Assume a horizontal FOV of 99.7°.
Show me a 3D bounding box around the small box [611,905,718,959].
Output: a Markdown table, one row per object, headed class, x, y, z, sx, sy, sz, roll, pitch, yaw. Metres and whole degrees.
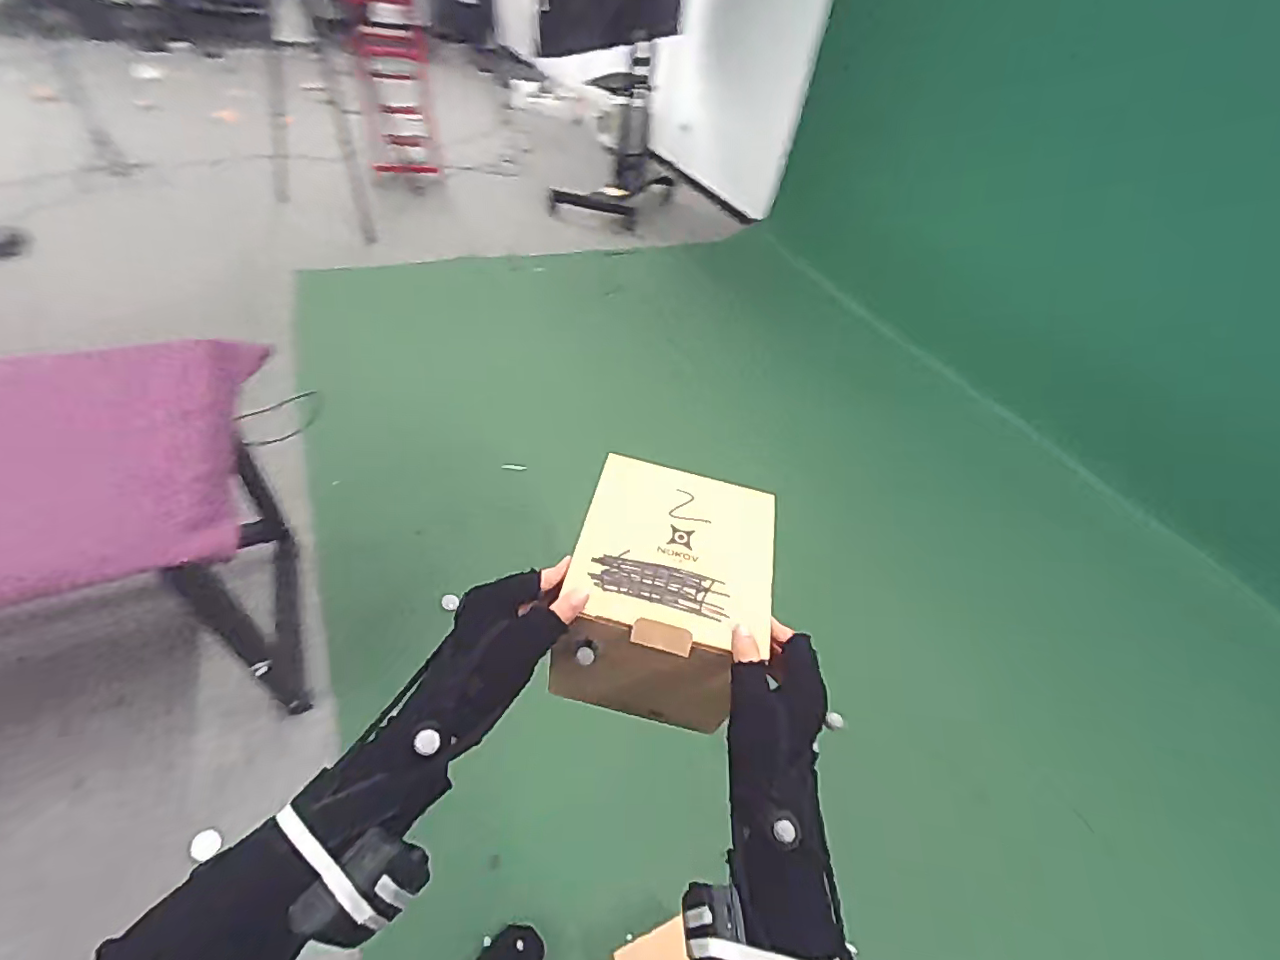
| class | x | y | z | sx | sy | sz | roll | pitch | yaw |
| --- | --- | --- | --- | --- | --- | --- | --- | --- | --- |
| small box | 0.053 | 0.968 | 1.051 | 0.179 | 0.176 | 0.168 | -14 | 50 | -21 |
